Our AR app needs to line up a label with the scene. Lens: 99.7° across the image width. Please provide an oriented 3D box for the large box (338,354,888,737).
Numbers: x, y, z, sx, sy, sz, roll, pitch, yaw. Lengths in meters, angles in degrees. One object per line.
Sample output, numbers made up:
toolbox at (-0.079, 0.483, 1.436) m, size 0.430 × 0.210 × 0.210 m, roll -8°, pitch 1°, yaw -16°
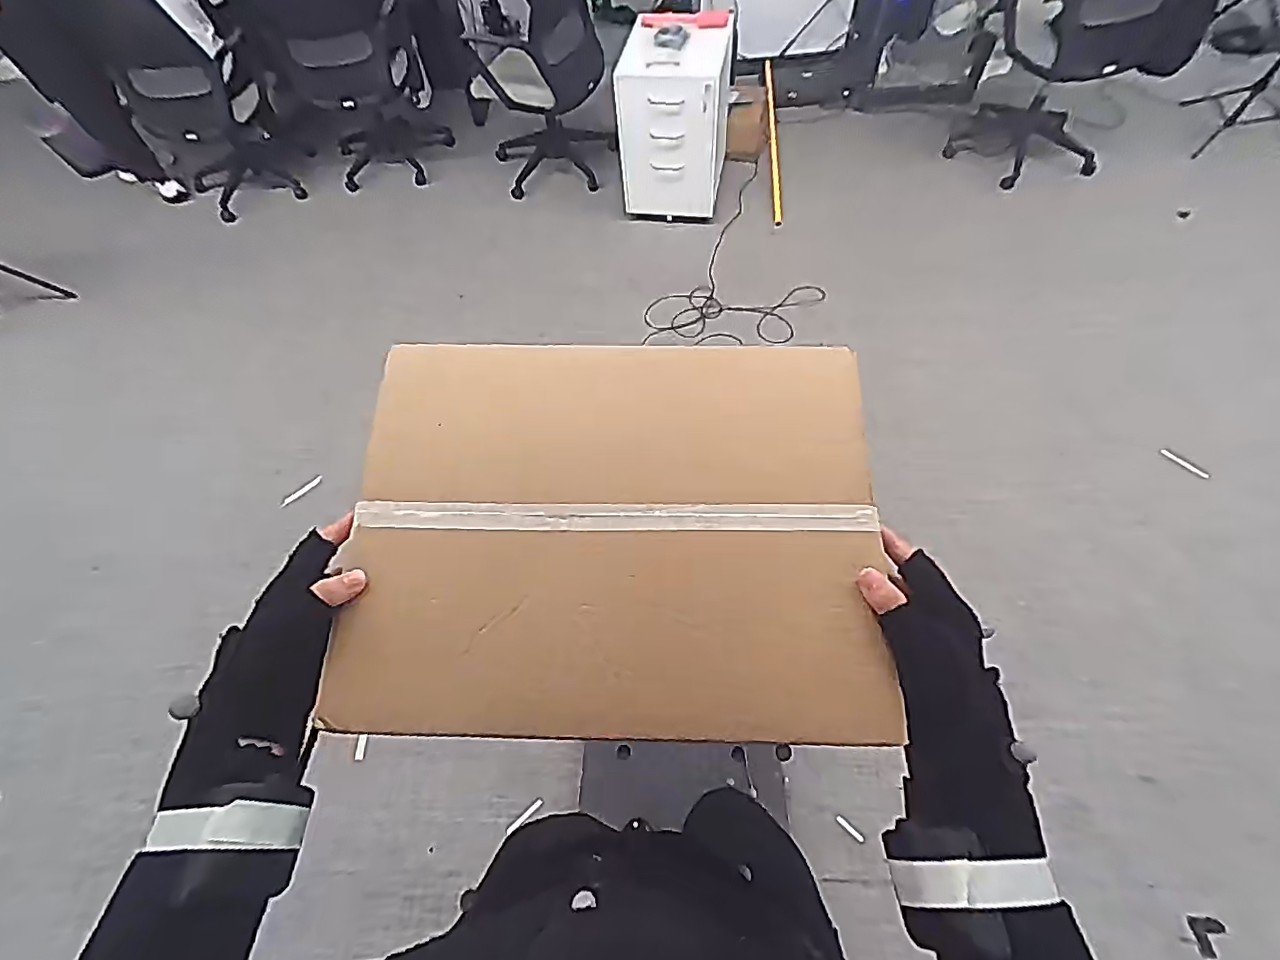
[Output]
large box at (-0.016, 0.083, 0.575) m, size 0.408 × 0.320 × 0.320 m, roll 0°, pitch 69°, yaw 2°
